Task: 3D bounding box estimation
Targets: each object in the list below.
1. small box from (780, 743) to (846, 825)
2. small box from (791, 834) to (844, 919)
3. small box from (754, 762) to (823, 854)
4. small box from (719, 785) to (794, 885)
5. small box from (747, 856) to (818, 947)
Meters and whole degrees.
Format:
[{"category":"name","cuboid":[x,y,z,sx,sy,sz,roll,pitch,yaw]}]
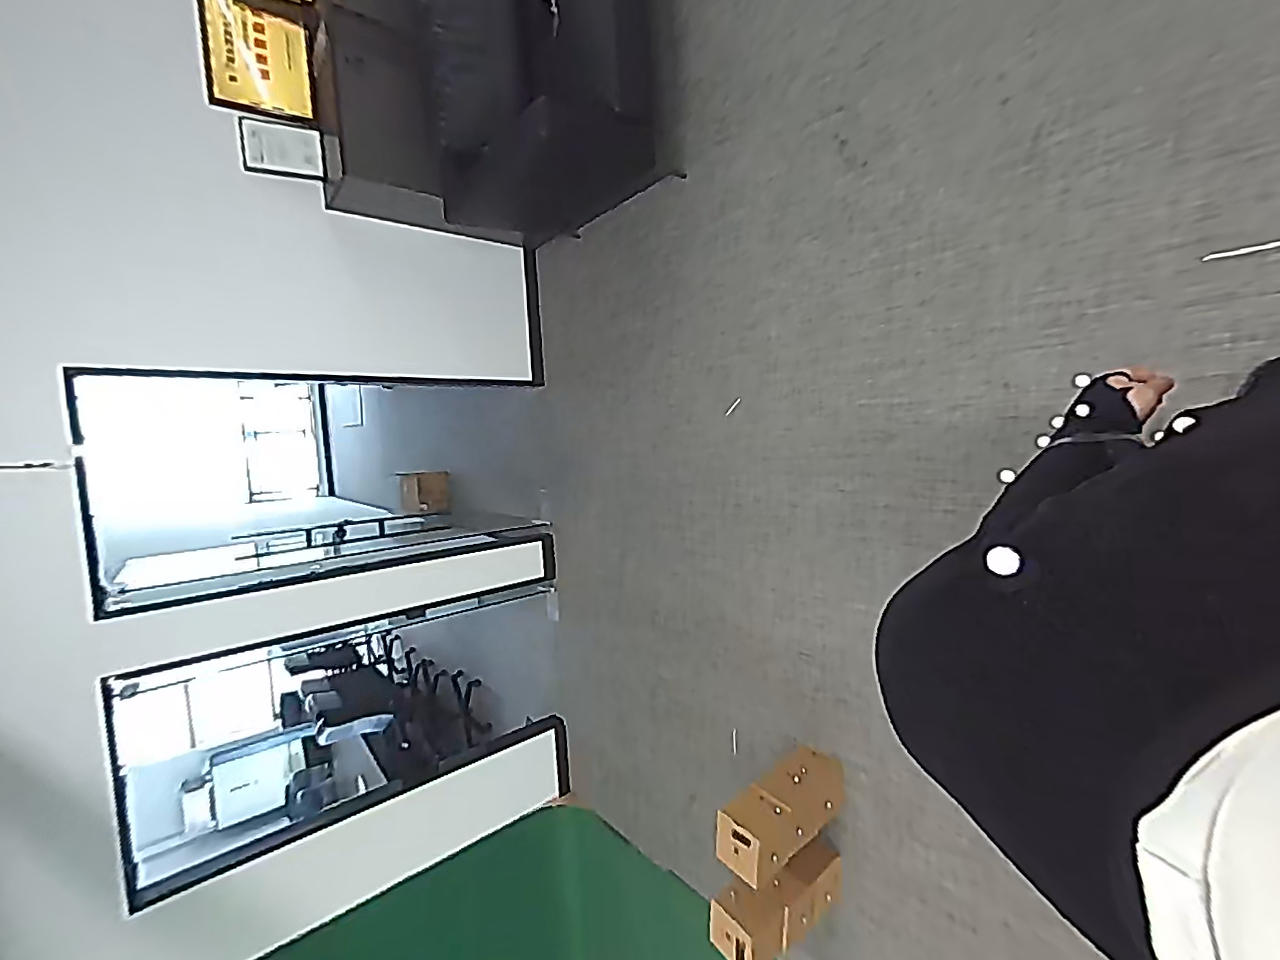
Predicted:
[{"category":"small box","cuboid":[0.619,1.084,1.933,0.168,0.176,0.179,7,100,50]},{"category":"small box","cuboid":[0.623,1.426,1.973,0.179,0.176,0.168,10,103,51]},{"category":"small box","cuboid":[0.499,1.097,1.823,0.168,0.176,0.179,10,102,50]},{"category":"small box","cuboid":[0.373,1.118,1.721,0.168,0.176,0.179,13,106,50]},{"category":"small box","cuboid":[0.493,1.434,1.869,0.179,0.176,0.168,12,103,50]}]
